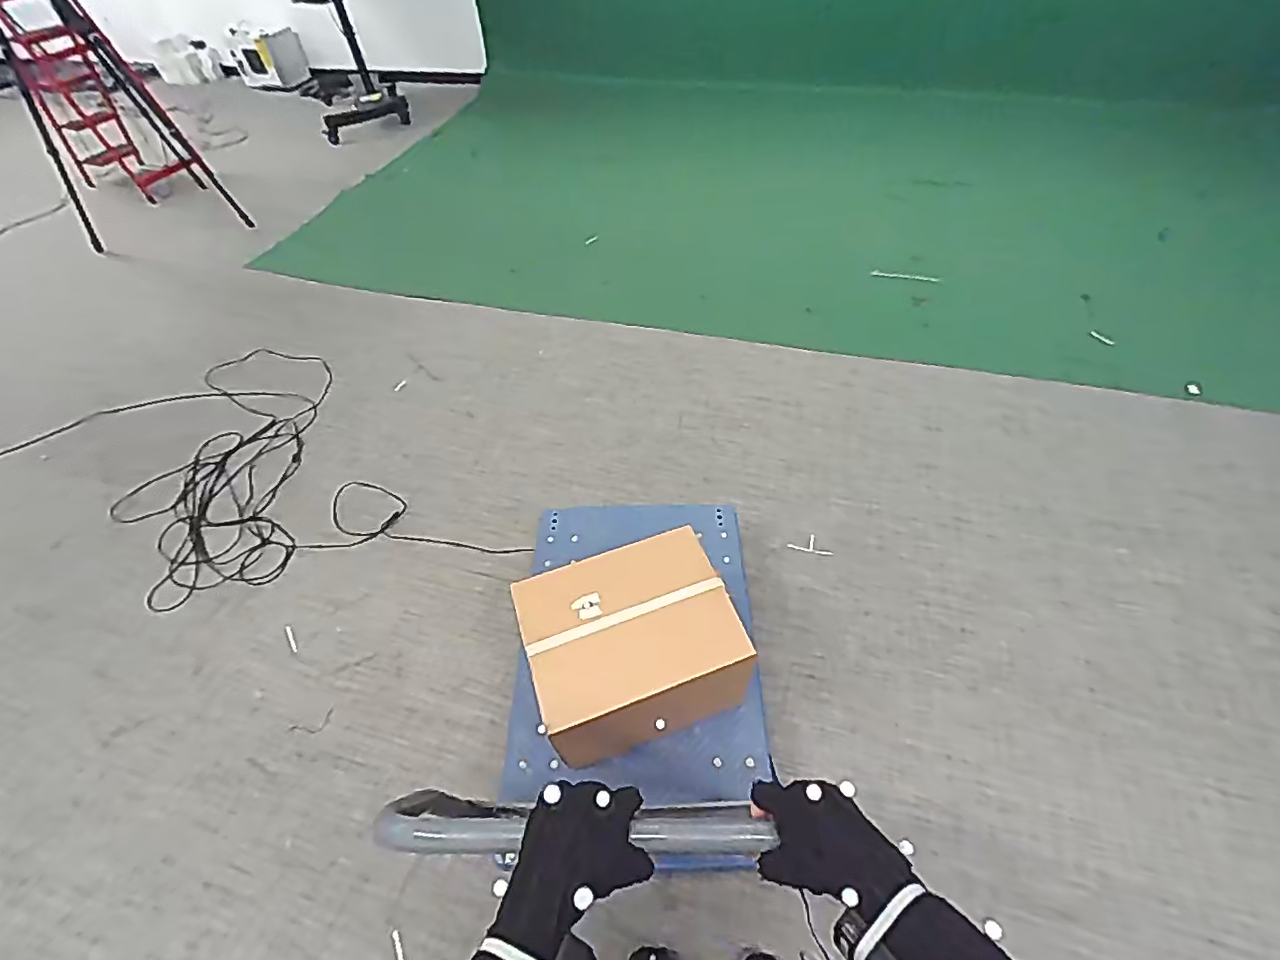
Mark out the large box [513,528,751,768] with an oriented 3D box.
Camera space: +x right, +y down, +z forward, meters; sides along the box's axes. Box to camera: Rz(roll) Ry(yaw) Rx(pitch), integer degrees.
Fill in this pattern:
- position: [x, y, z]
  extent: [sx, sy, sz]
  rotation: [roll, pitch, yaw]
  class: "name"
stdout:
- position: [-0.018, 0.366, 1.179]
  extent: [0.408, 0.320, 0.320]
  rotation: [-18, 52, -10]
  class: "large box"
